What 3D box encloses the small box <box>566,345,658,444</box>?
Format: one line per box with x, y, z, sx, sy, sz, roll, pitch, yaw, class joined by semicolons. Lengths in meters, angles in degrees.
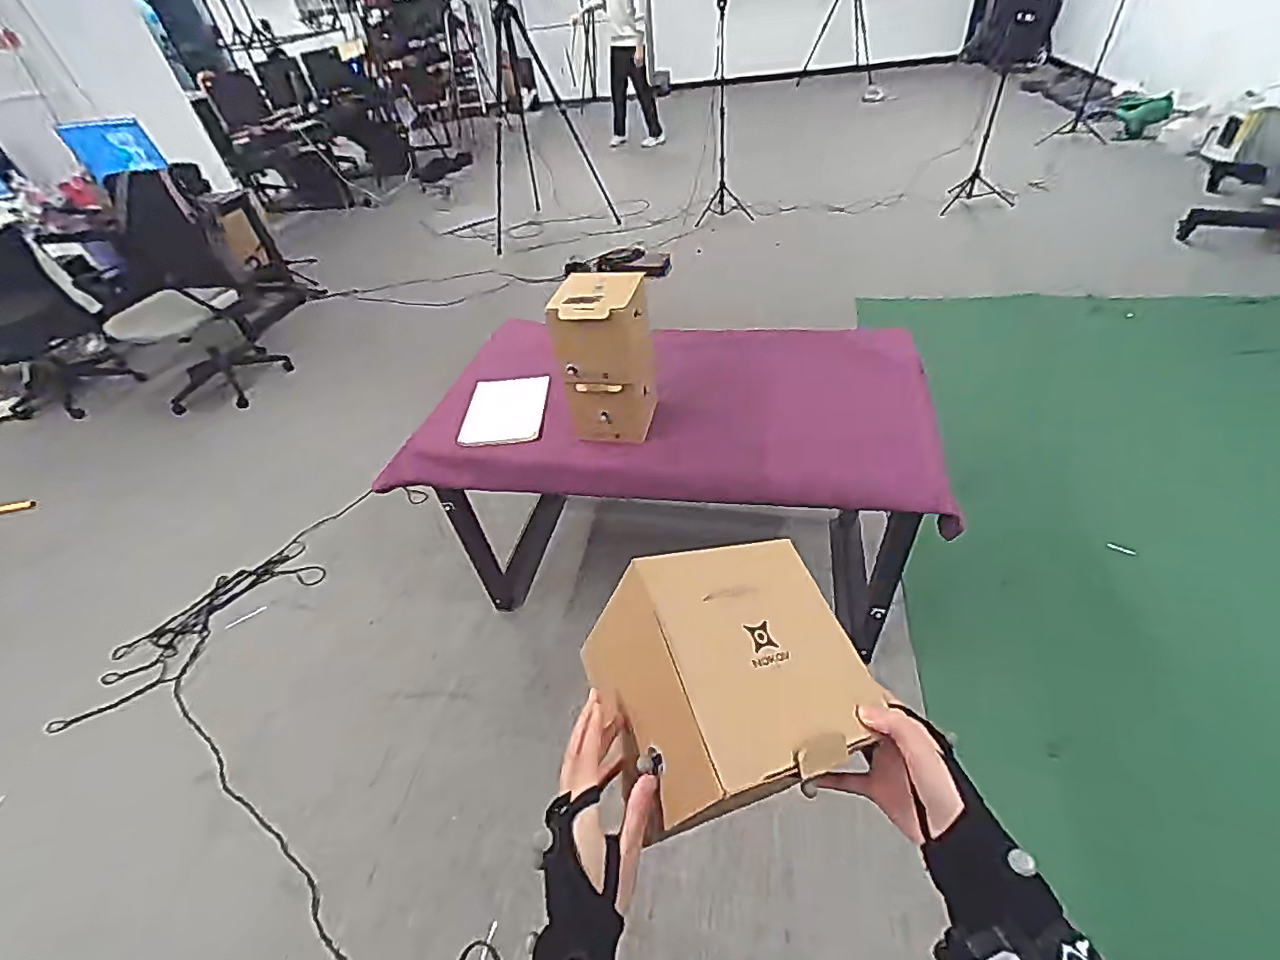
-0.057;-0.201;1.267;0.168;0.176;0.179;5;45;13;small box

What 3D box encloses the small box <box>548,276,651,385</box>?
-0.075;-0.317;1.150;0.168;0.176;0.179;5;43;14;small box

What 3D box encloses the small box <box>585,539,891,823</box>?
0.066;0.175;0.473;0.168;0.176;0.179;-2;50;-28;small box
